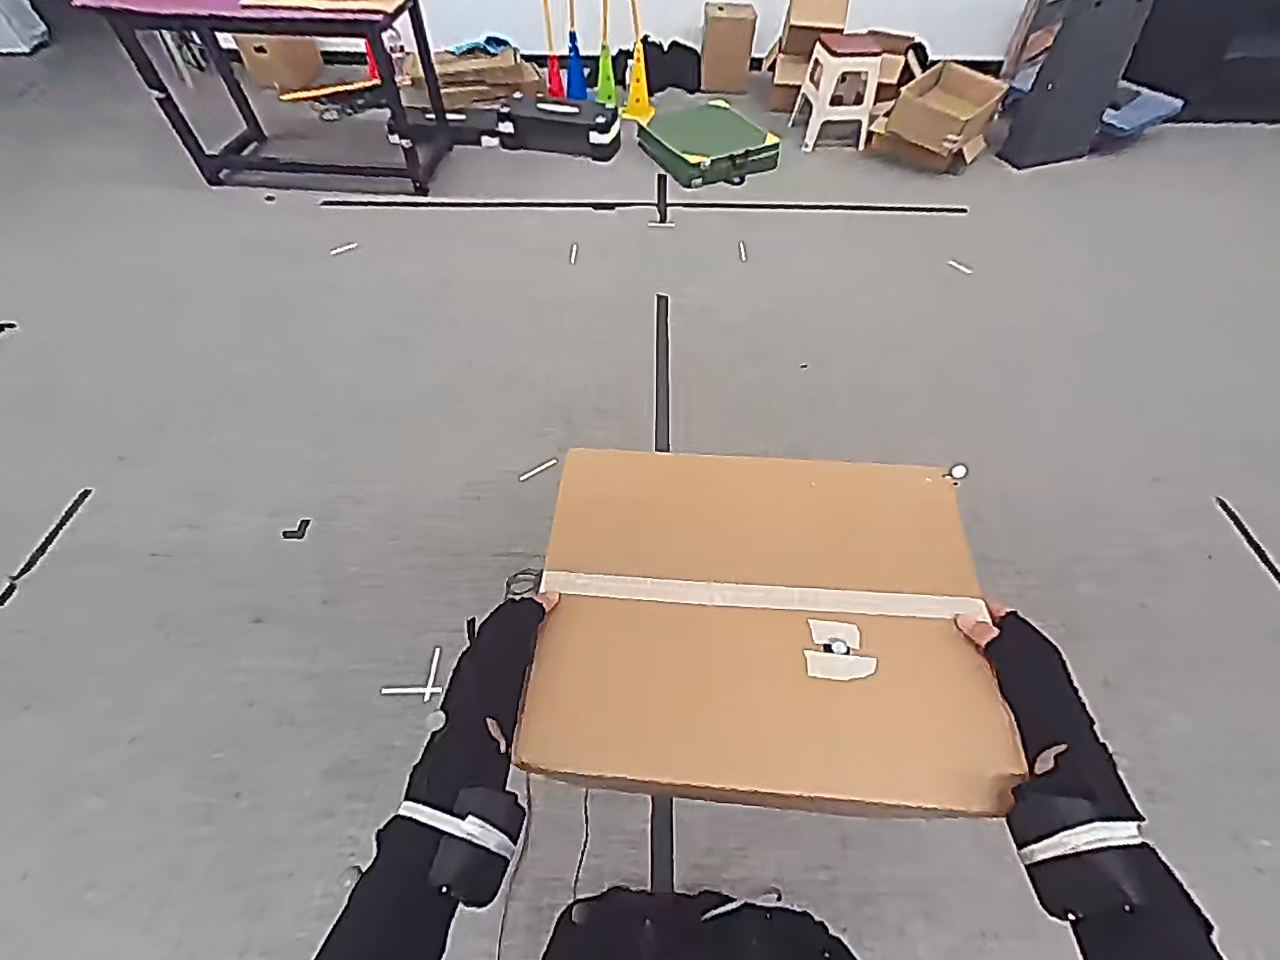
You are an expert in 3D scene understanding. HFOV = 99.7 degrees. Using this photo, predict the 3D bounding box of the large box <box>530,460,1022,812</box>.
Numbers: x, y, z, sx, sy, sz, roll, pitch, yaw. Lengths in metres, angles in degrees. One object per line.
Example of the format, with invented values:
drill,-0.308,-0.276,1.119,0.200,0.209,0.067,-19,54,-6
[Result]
large box,0.119,0.195,0.638,0.408,0.320,0.320,3,59,4
